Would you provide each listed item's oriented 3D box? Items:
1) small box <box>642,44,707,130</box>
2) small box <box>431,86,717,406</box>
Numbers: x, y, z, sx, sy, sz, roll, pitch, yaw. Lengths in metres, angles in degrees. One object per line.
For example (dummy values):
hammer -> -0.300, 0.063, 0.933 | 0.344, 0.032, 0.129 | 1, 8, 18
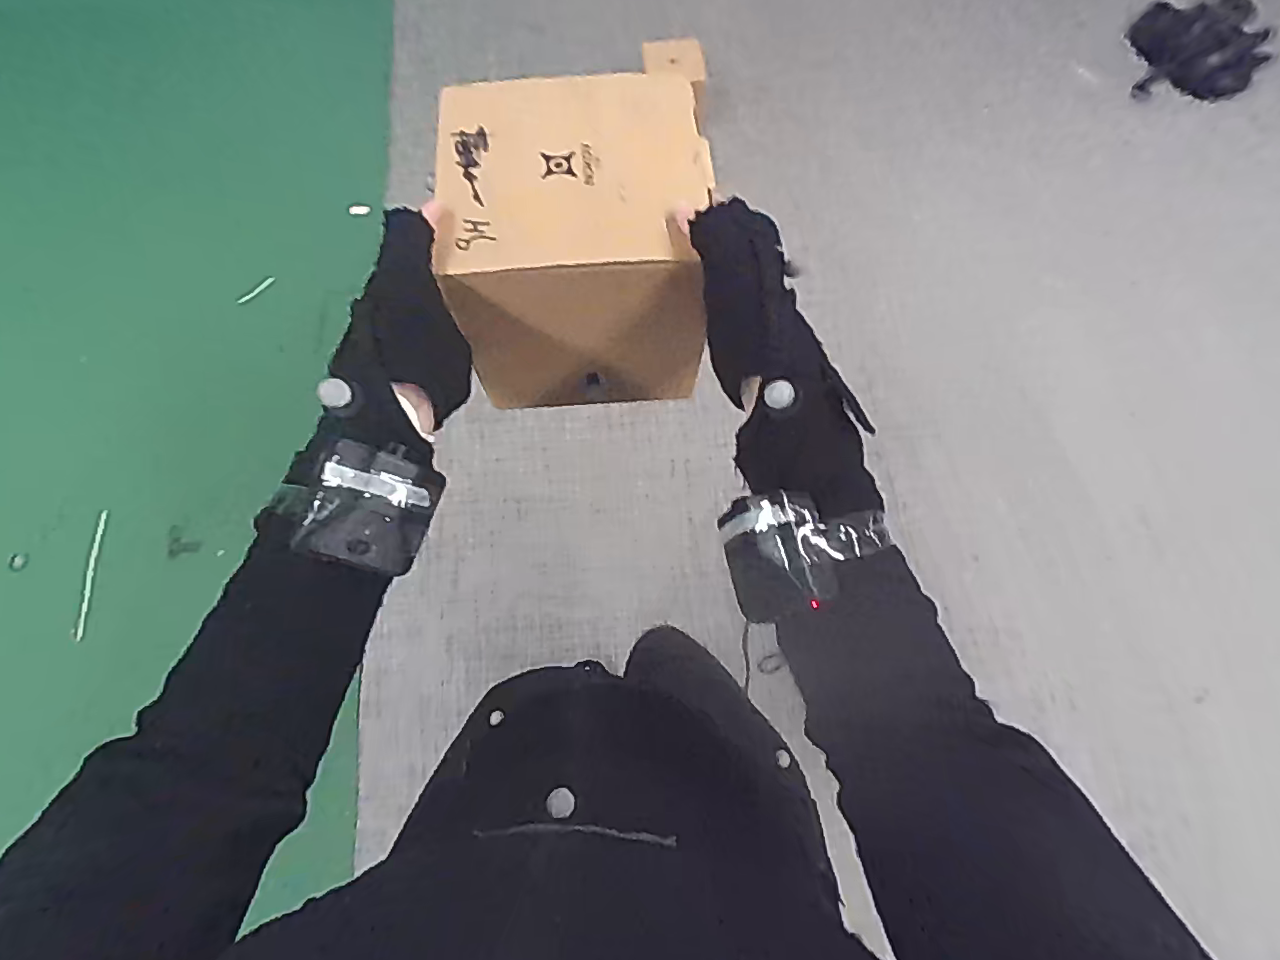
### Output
small box -> 0.099, -1.188, 1.661 | 0.179, 0.176, 0.168 | -7, 73, -1
small box -> -0.047, -0.171, 0.429 | 0.179, 0.176, 0.168 | -4, 68, -3
